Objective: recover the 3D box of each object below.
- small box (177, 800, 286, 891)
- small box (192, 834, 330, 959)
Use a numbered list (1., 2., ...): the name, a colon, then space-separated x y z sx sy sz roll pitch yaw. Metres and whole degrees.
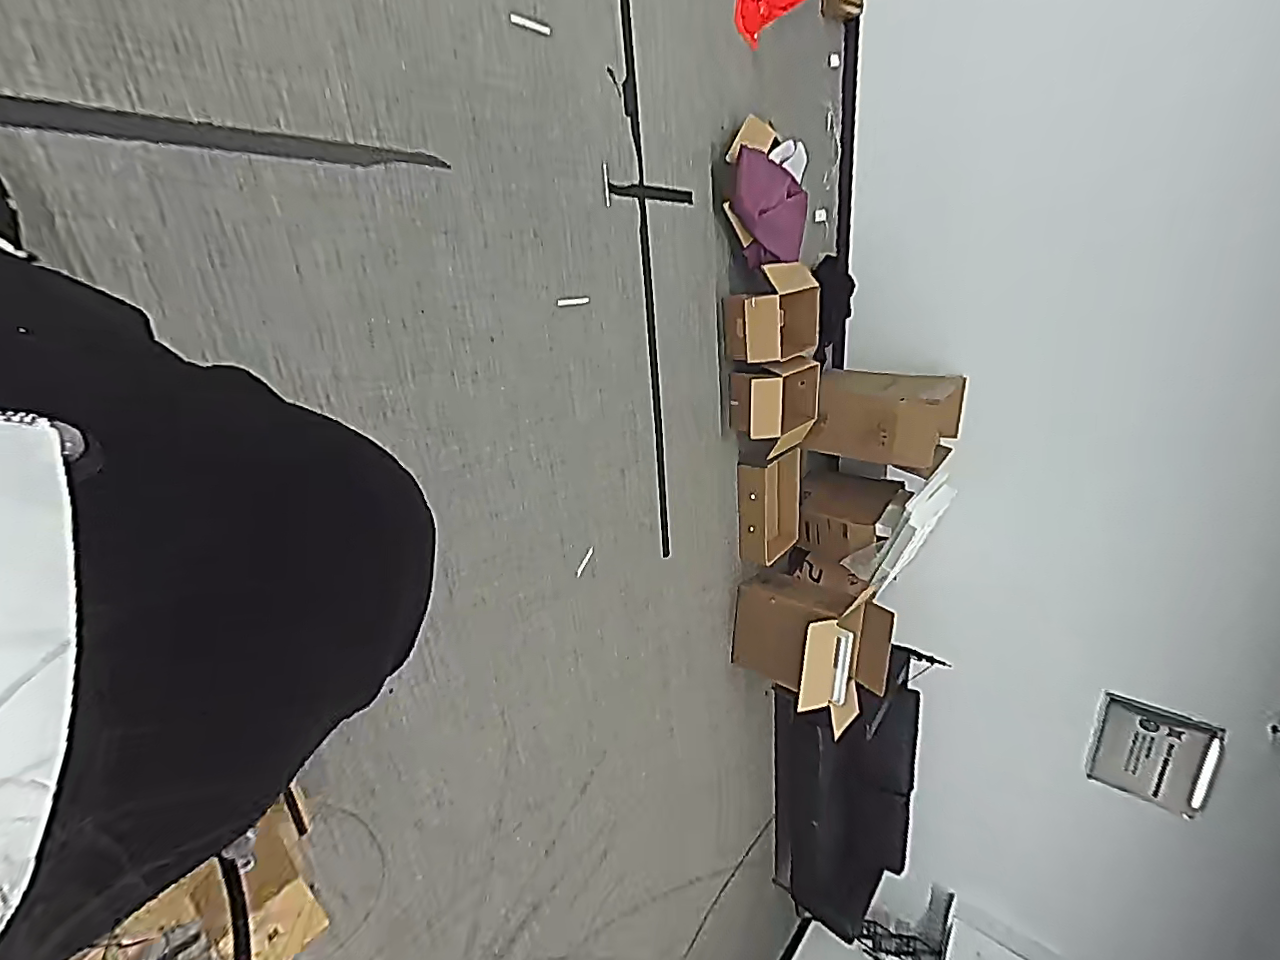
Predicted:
1. small box: -0.922 0.876 1.240 0.168 0.176 0.179 -23 116 -44
2. small box: -0.796 0.902 1.139 0.168 0.176 0.179 -32 122 -41
